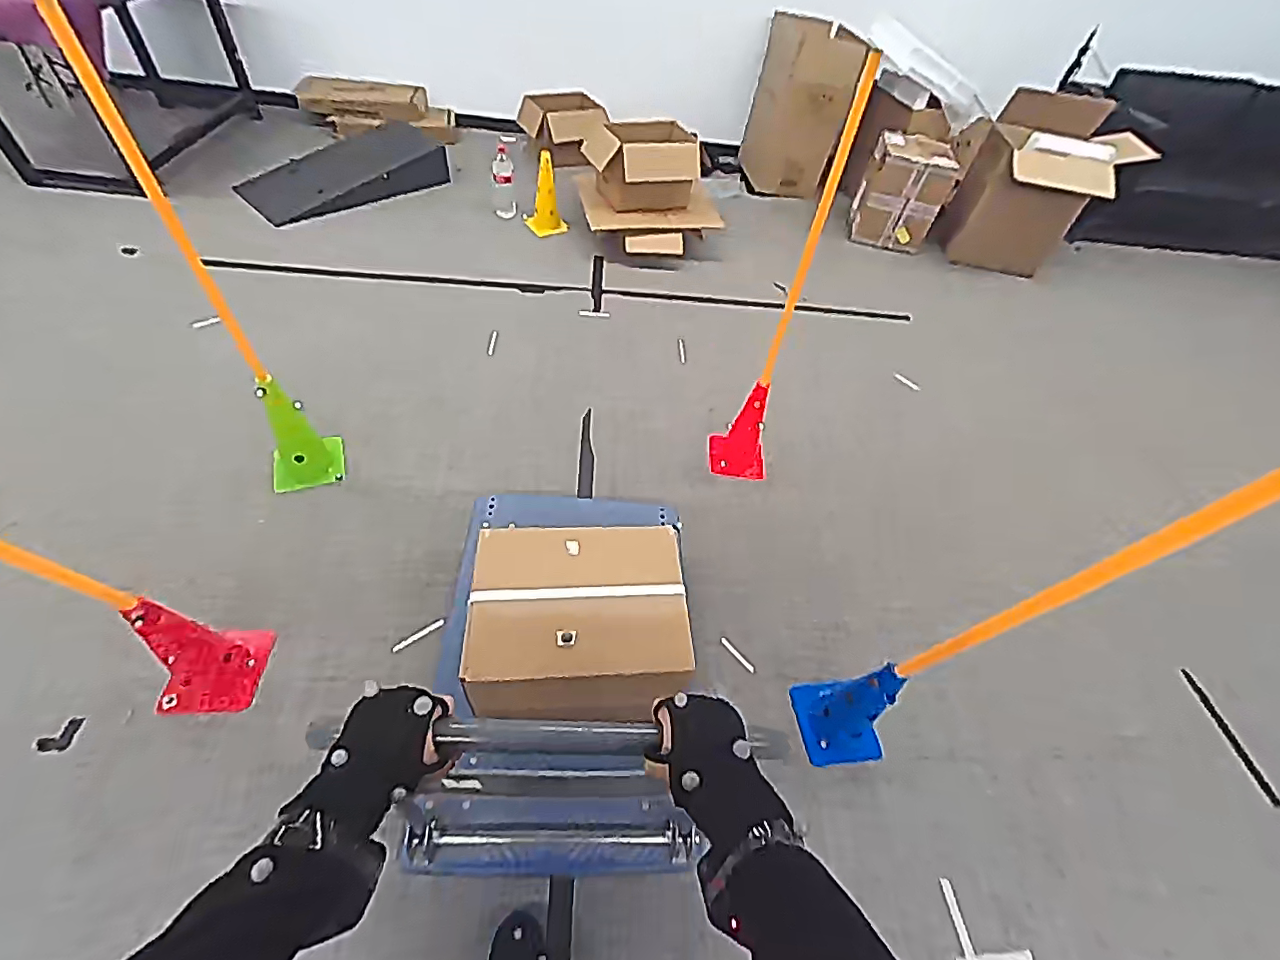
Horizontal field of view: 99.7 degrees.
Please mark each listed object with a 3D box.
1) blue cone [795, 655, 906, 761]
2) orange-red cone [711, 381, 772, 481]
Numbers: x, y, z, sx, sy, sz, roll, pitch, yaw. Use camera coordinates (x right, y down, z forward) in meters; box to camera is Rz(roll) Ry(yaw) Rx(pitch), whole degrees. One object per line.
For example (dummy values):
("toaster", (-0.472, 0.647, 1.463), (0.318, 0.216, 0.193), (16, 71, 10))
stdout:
("blue cone", (0.534, 0.521, 1.289), (0.193, 0.380, 0.192), (0, 49, -9))
("orange-red cone", (0.381, -0.190, 1.839), (0.199, 0.360, 0.198), (8, 50, -3))
